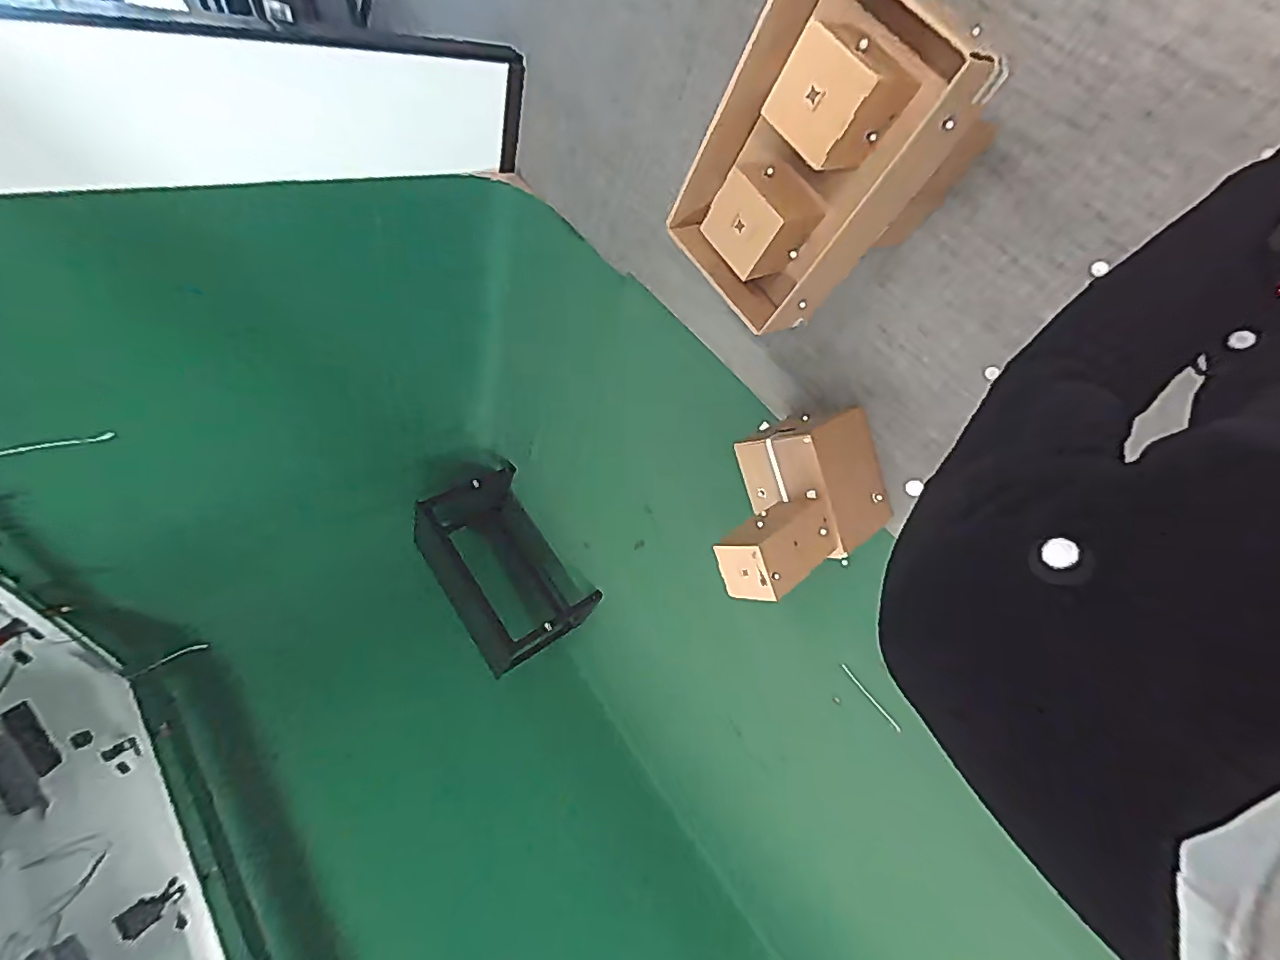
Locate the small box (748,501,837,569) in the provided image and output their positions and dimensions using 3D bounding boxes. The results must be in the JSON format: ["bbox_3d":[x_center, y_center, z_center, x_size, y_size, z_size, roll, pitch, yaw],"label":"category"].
[{"bbox_3d":[0.466,0.170,1.651,0.179,0.176,0.168,-8,105,52],"label":"small box"}]

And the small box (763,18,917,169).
[{"bbox_3d":[0.377,-0.720,1.023,0.179,0.176,0.168,53,144,12],"label":"small box"}]

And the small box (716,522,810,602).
[{"bbox_3d":[0.352,0.228,1.548,0.179,0.176,0.168,-8,104,53],"label":"small box"}]
